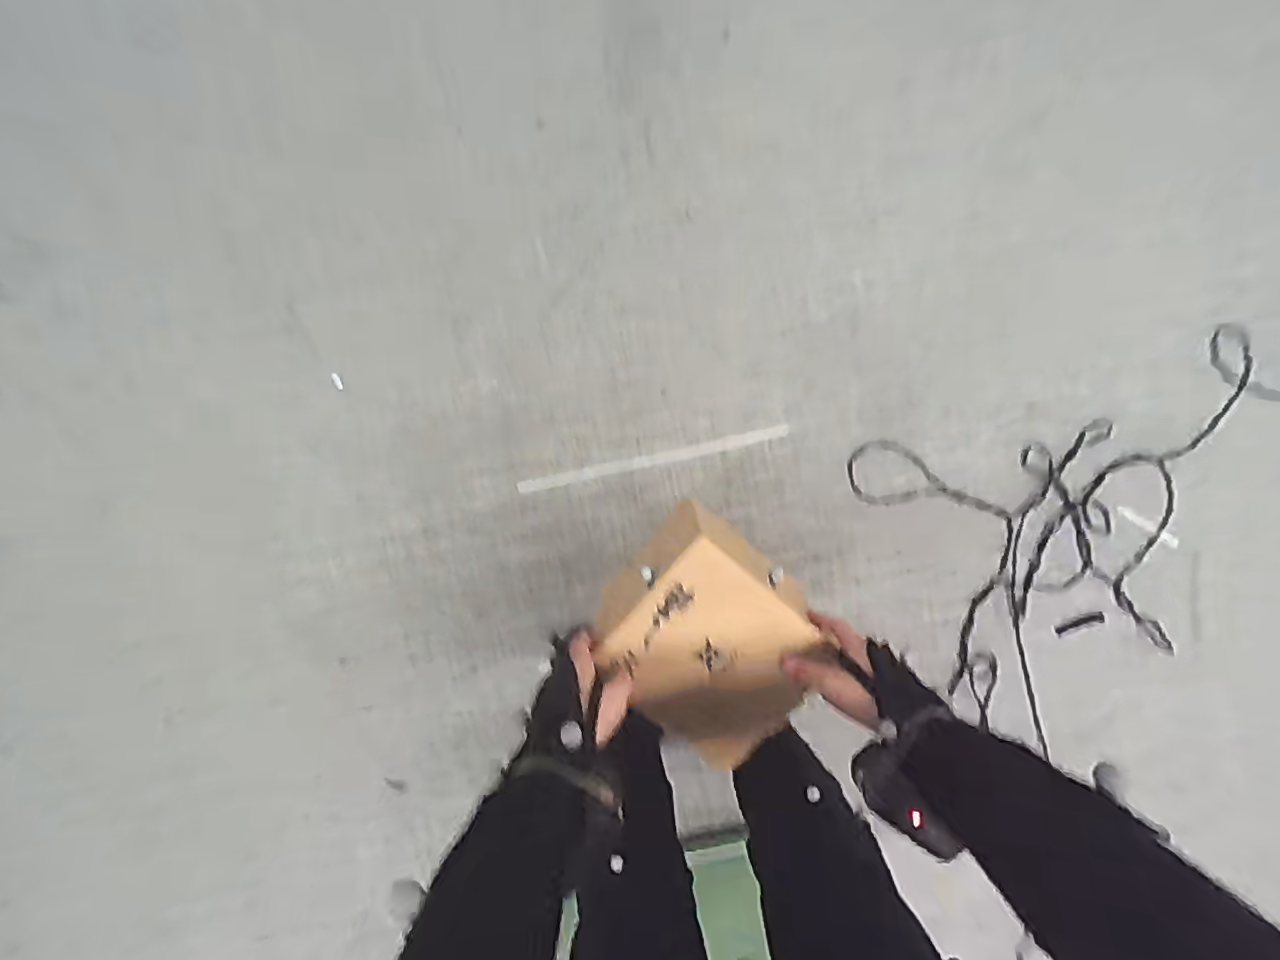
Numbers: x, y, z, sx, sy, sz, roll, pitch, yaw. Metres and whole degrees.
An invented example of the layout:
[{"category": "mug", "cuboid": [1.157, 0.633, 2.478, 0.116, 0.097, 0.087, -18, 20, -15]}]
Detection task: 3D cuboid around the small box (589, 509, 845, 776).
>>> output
[{"category": "small box", "cuboid": [0.071, 0.151, 0.567, 0.179, 0.176, 0.168, 39, 97, -6]}]
